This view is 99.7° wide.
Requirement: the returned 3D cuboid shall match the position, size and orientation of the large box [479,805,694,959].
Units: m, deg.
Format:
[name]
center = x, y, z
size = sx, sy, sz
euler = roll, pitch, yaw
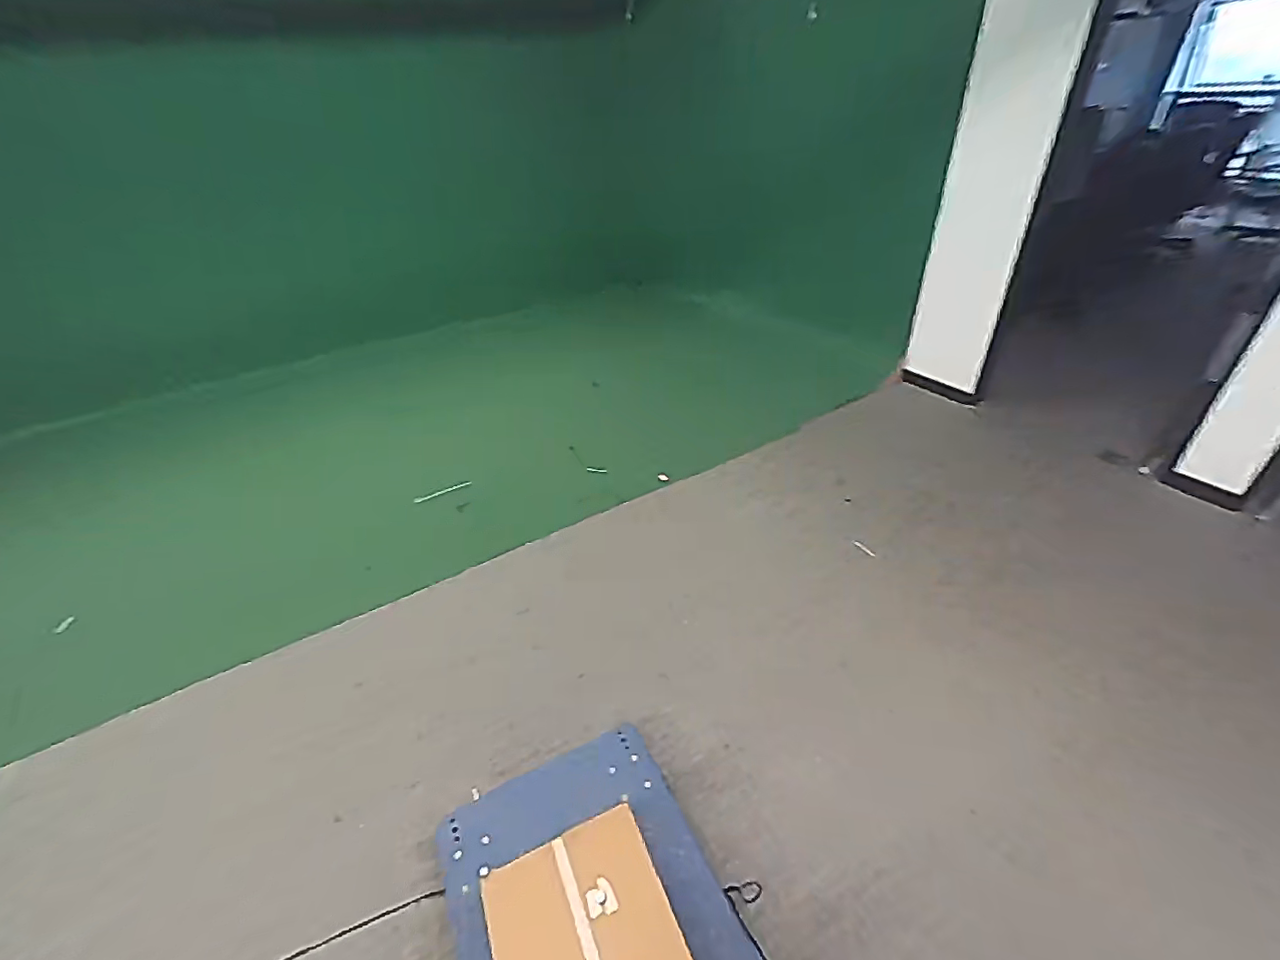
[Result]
[large box]
center = -0.071, 0.934, 1.008
size = 0.320, 0.320, 0.408
euler = -18, 38, -18
